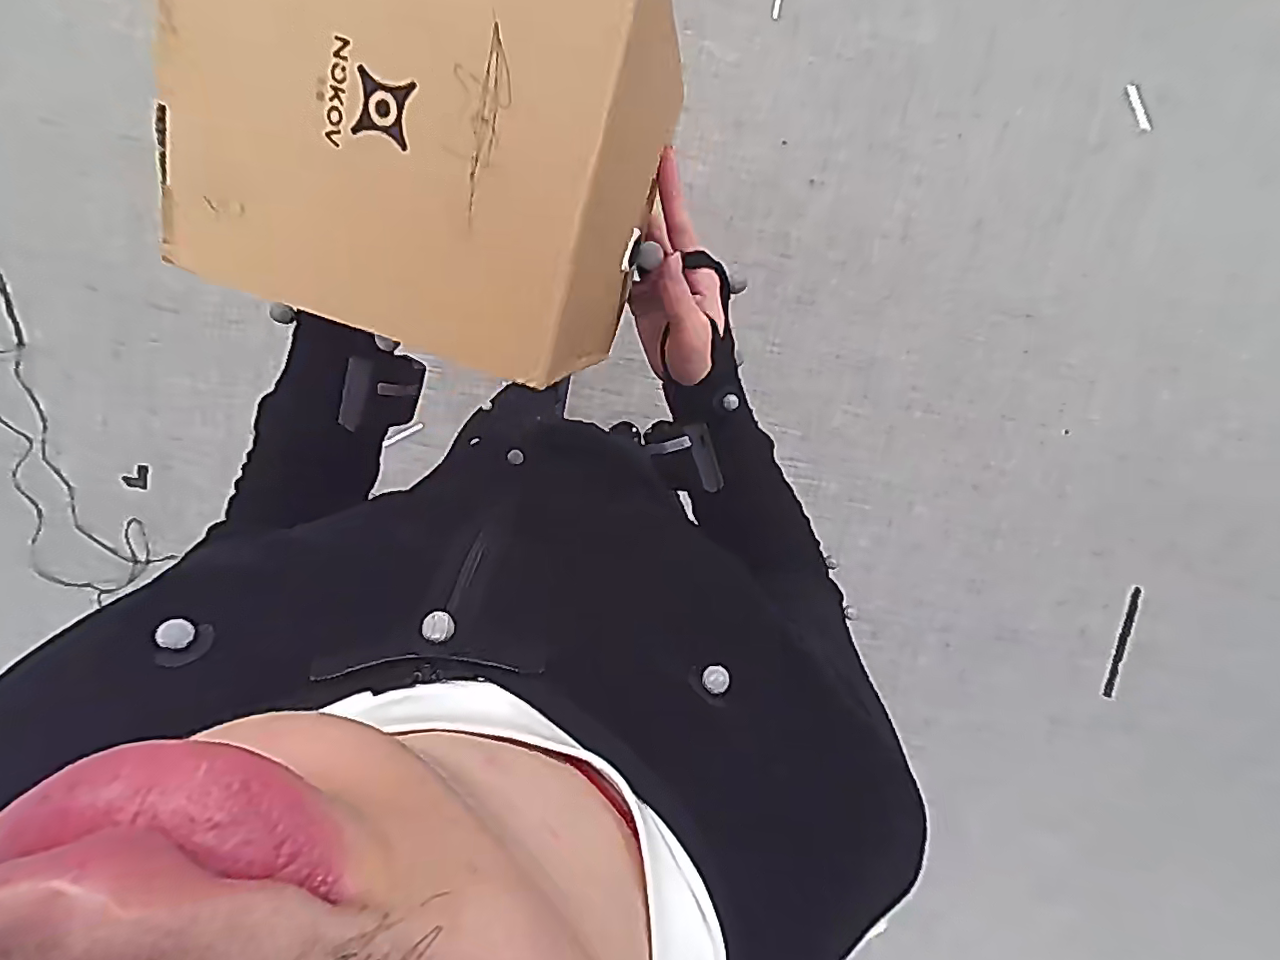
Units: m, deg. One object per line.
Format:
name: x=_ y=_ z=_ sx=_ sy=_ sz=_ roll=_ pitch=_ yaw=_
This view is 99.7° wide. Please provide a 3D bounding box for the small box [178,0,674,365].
small box: x=-0.090 y=-0.171 z=0.290 sx=0.179 sy=0.176 sz=0.168 roll=18 pitch=109 yaw=1
